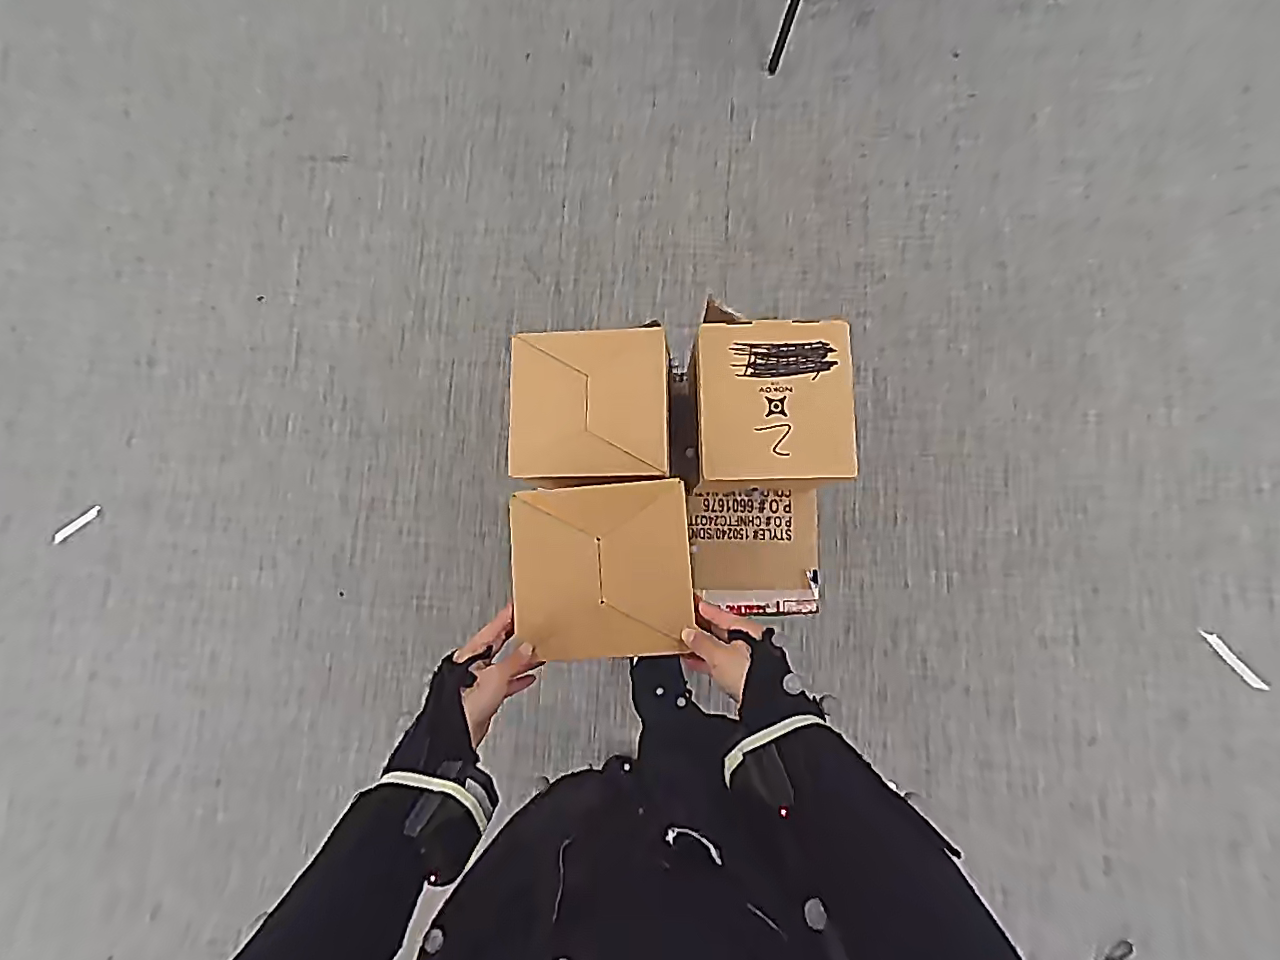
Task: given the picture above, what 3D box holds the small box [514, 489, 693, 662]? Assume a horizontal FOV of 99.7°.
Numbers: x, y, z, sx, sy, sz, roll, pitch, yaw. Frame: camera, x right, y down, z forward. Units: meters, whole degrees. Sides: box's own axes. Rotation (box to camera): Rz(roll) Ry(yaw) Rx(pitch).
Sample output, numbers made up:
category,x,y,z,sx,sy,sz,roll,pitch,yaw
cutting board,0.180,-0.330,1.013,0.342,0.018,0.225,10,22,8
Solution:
category,x,y,z,sx,sy,sz,roll,pitch,yaw
small box,-0.036,0.105,0.610,0.179,0.176,0.168,-4,81,3
